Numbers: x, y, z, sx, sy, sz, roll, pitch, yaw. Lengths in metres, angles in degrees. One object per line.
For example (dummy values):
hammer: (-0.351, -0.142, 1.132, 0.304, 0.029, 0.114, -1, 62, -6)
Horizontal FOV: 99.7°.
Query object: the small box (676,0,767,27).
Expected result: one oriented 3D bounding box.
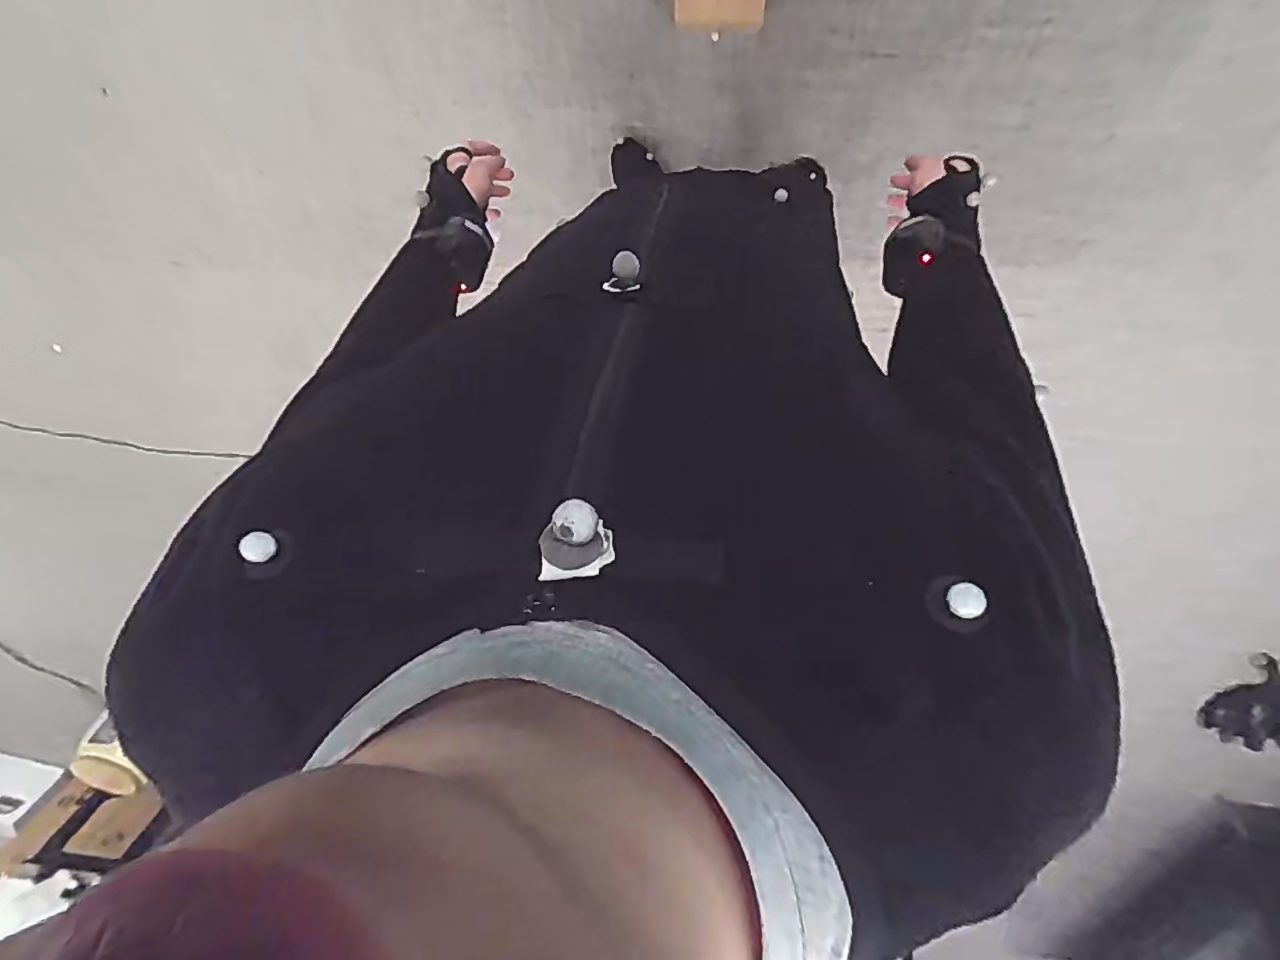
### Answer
small box: (0.154, -0.959, 0.996, 0.168, 0.176, 0.179, 4, 126, 6)
